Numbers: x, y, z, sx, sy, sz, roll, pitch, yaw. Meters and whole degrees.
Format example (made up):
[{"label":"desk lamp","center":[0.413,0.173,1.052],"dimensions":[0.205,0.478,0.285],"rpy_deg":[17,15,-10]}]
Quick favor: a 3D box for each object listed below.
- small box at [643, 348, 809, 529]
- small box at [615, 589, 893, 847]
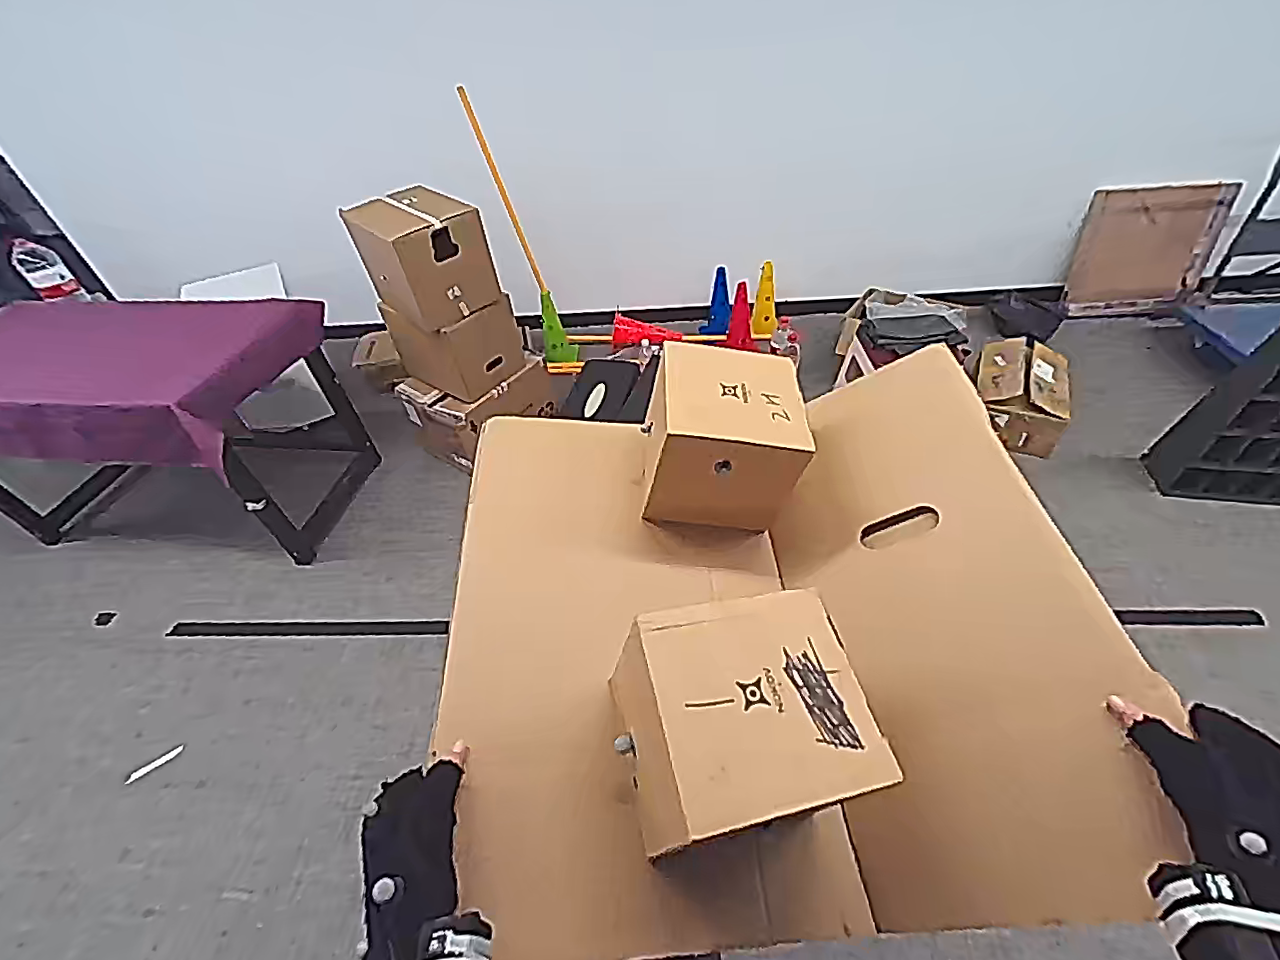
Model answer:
[{"label":"small box","center":[0.101,-0.050,0.725],"dimensions":[0.179,0.176,0.168],"rpy_deg":[7,51,-7]},{"label":"small box","center":[0.085,0.222,0.504],"dimensions":[0.179,0.176,0.168],"rpy_deg":[-5,53,-16]}]
